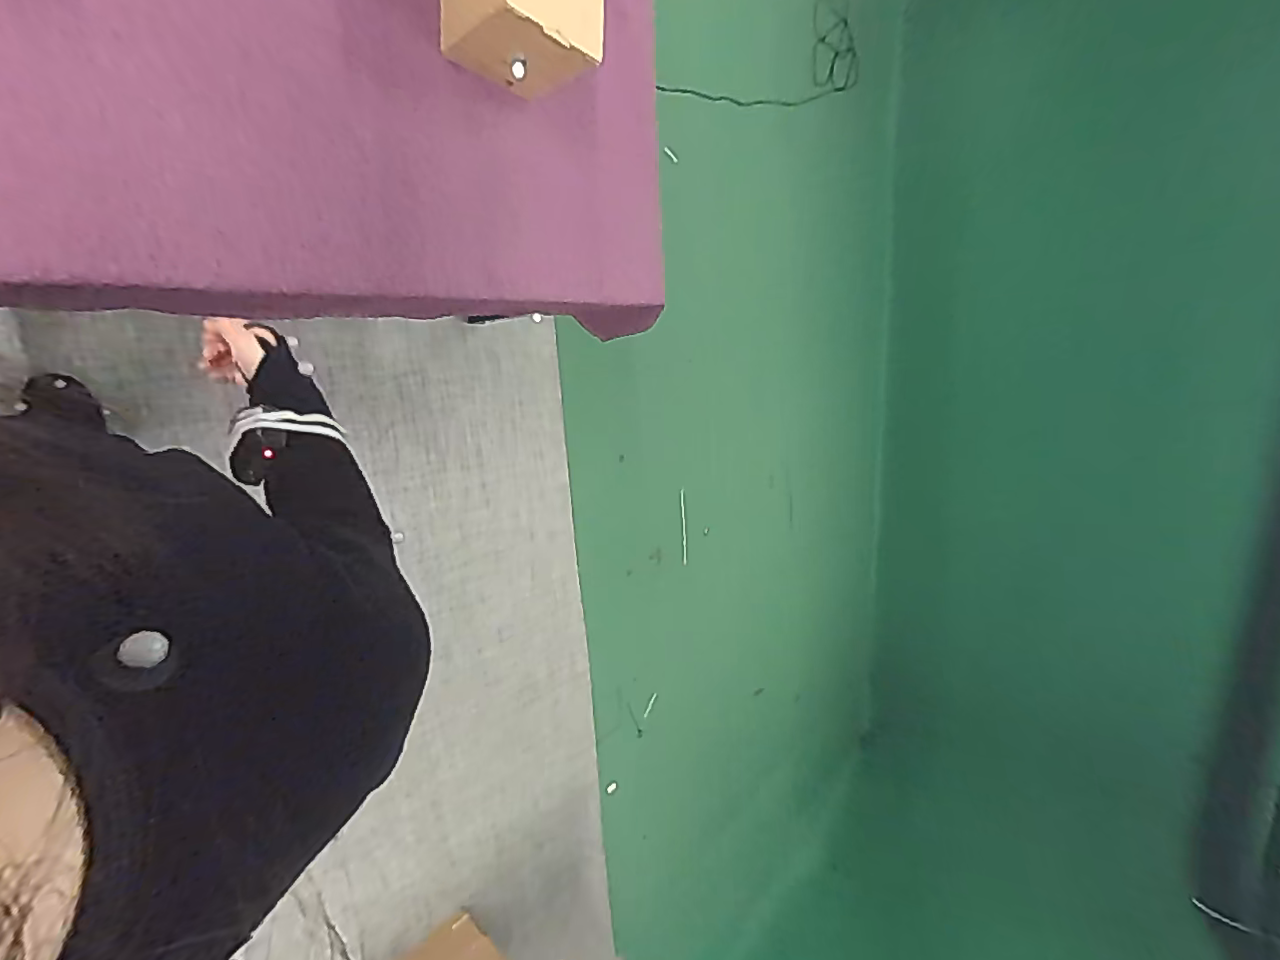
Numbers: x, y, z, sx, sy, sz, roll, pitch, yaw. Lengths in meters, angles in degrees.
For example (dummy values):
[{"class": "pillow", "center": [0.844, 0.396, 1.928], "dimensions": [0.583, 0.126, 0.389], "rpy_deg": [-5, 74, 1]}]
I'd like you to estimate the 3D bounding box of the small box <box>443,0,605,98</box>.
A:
[{"class": "small box", "center": [-0.167, -0.692, 0.773], "dimensions": [0.168, 0.176, 0.179], "rpy_deg": [-7, 102, -47]}]
